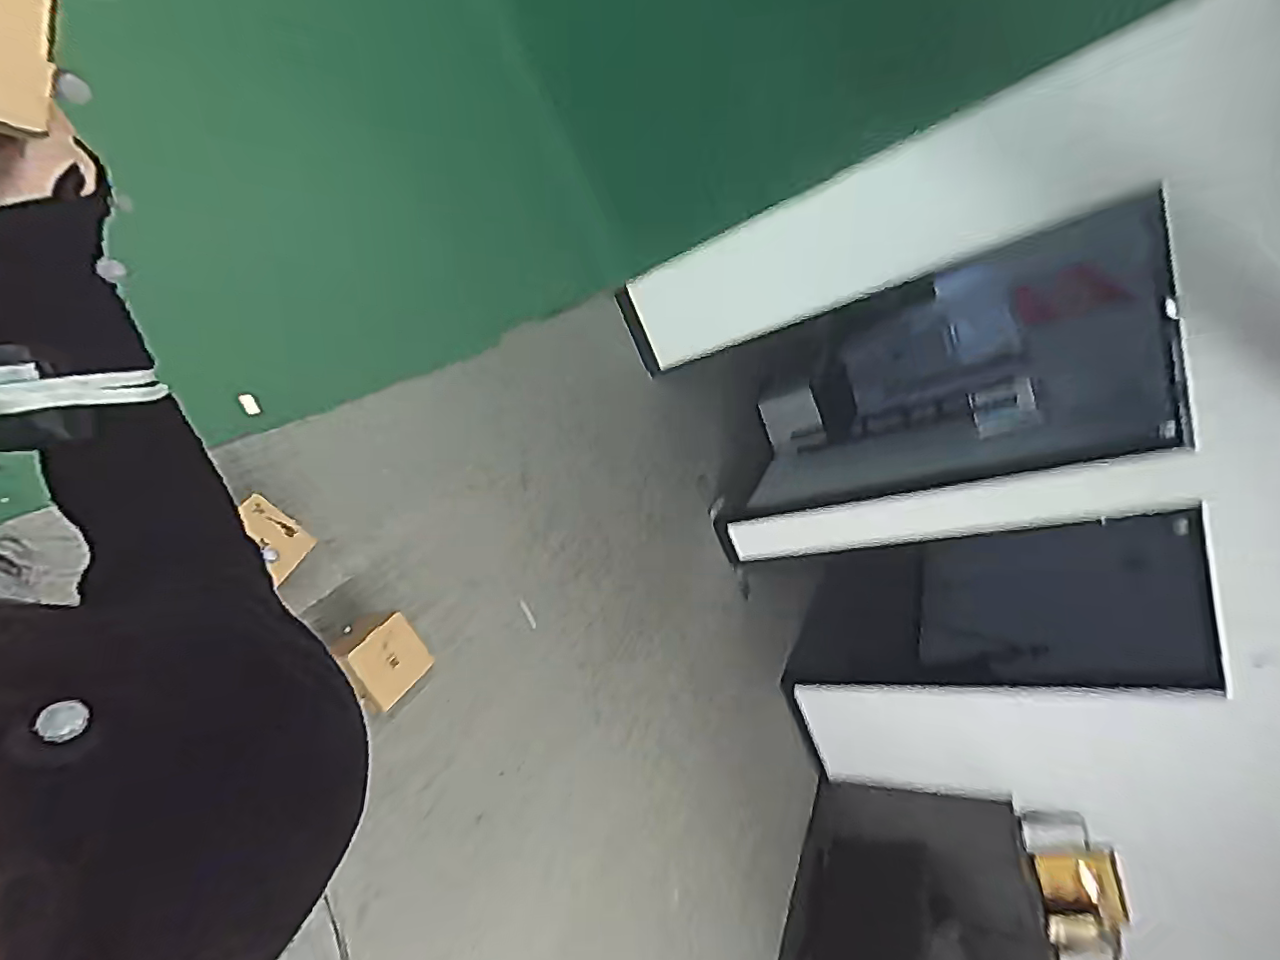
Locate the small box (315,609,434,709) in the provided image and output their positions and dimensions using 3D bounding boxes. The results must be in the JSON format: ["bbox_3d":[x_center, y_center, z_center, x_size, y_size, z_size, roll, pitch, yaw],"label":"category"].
[{"bbox_3d":[-0.668,0.446,1.364,0.168,0.176,0.179,-47,118,-51],"label":"small box"}]

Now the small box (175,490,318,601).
[{"bbox_3d":[-0.864,0.150,1.184,0.168,0.176,0.179,54,41,-29],"label":"small box"}]
